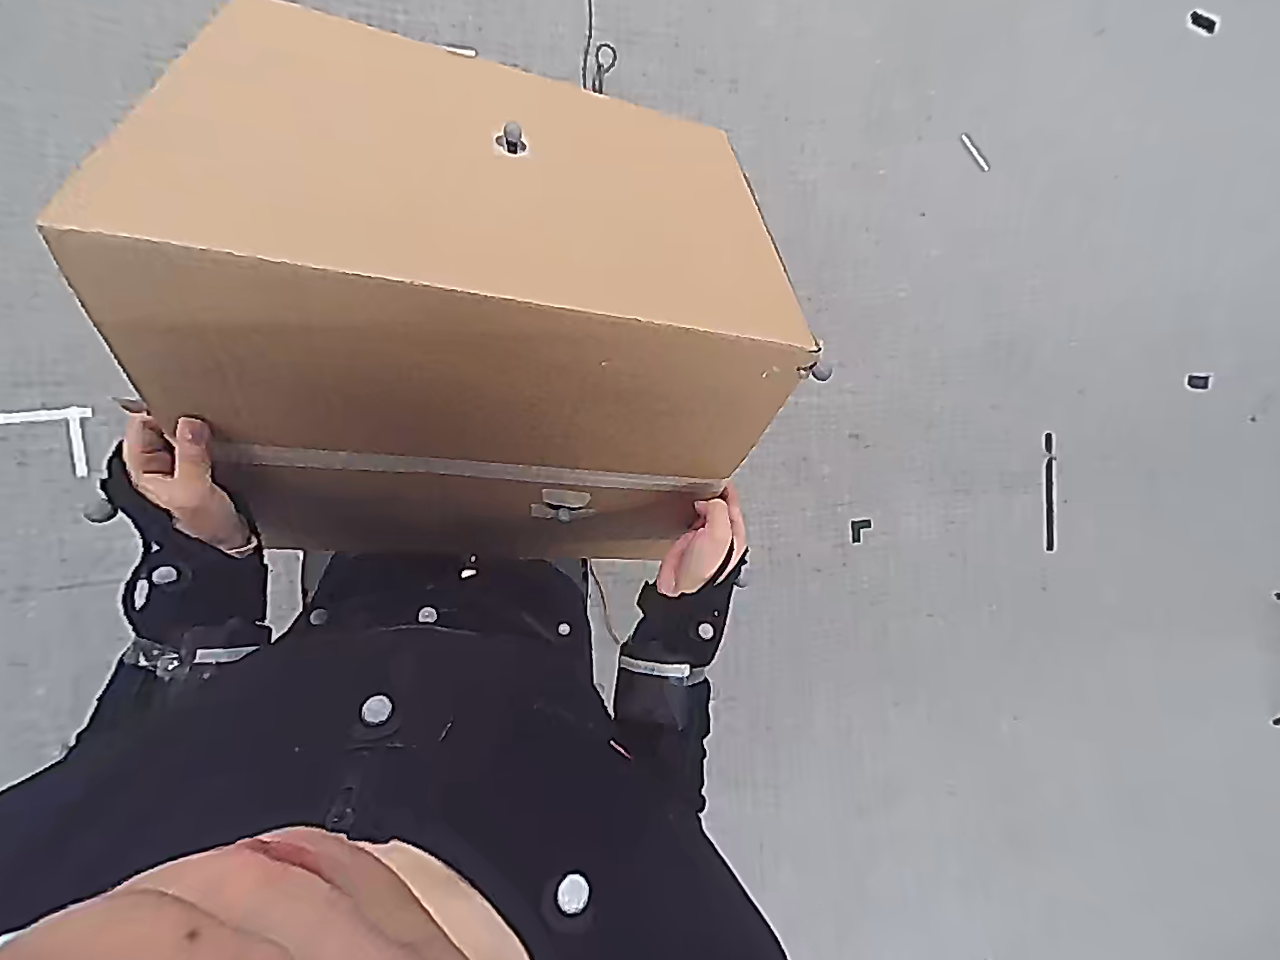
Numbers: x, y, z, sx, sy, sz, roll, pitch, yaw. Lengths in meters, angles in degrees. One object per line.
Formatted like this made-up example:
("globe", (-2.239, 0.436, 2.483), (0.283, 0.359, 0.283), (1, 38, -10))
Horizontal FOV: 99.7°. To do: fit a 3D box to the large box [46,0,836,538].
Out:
("large box", (-0.124, -0.156, 0.481), (0.408, 0.320, 0.320), (3, 56, -17))
